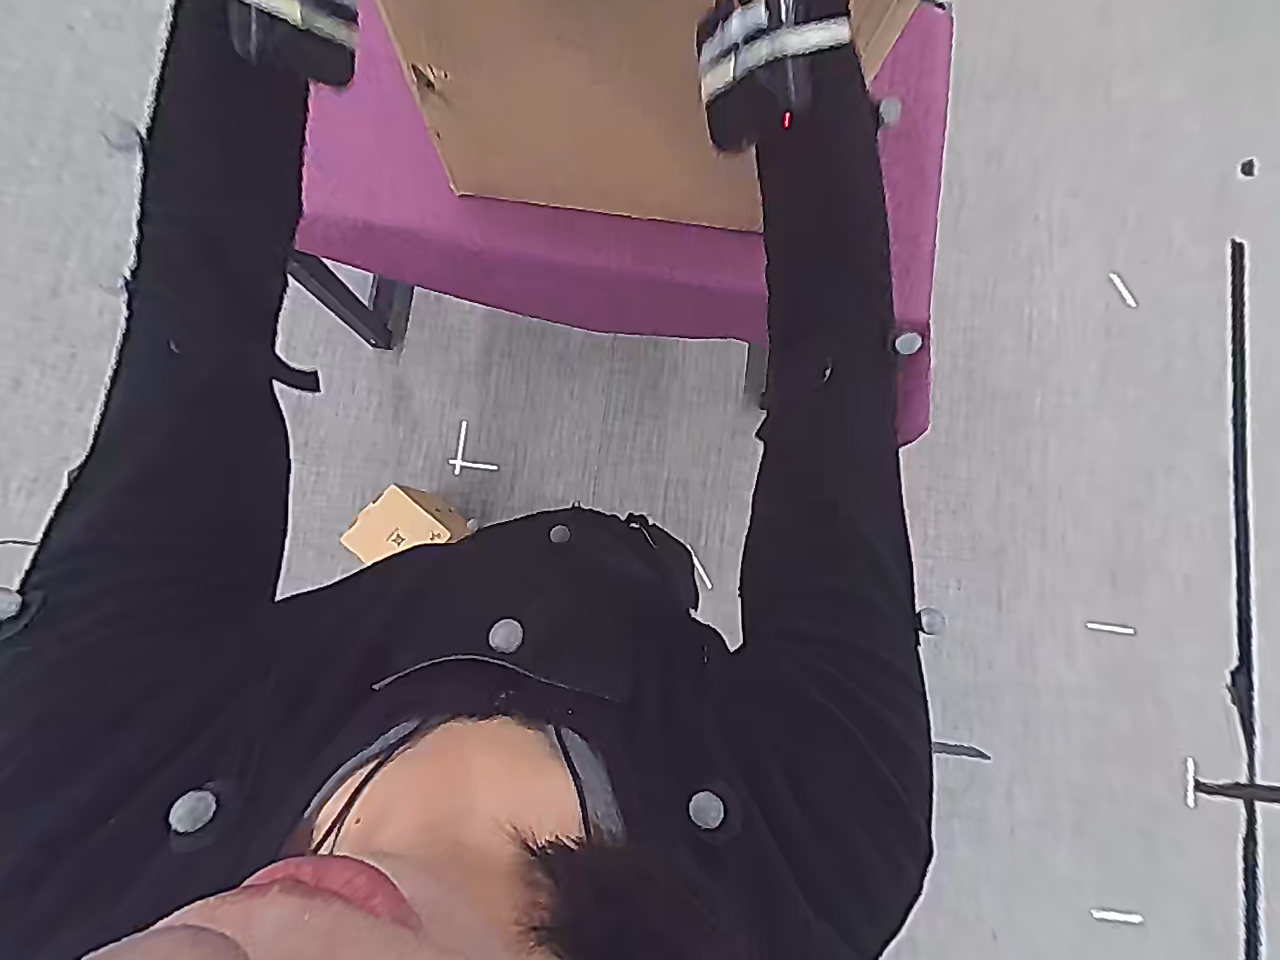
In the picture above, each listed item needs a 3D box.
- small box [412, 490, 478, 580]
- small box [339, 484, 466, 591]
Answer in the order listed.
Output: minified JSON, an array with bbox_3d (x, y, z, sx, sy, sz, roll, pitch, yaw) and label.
[{"bbox_3d":[-0.549,0.149,1.399,0.179,0.176,0.168,39,82,-1],"label":"small box"},{"bbox_3d":[-0.531,0.134,1.236,0.179,0.176,0.168,41,82,1],"label":"small box"}]
